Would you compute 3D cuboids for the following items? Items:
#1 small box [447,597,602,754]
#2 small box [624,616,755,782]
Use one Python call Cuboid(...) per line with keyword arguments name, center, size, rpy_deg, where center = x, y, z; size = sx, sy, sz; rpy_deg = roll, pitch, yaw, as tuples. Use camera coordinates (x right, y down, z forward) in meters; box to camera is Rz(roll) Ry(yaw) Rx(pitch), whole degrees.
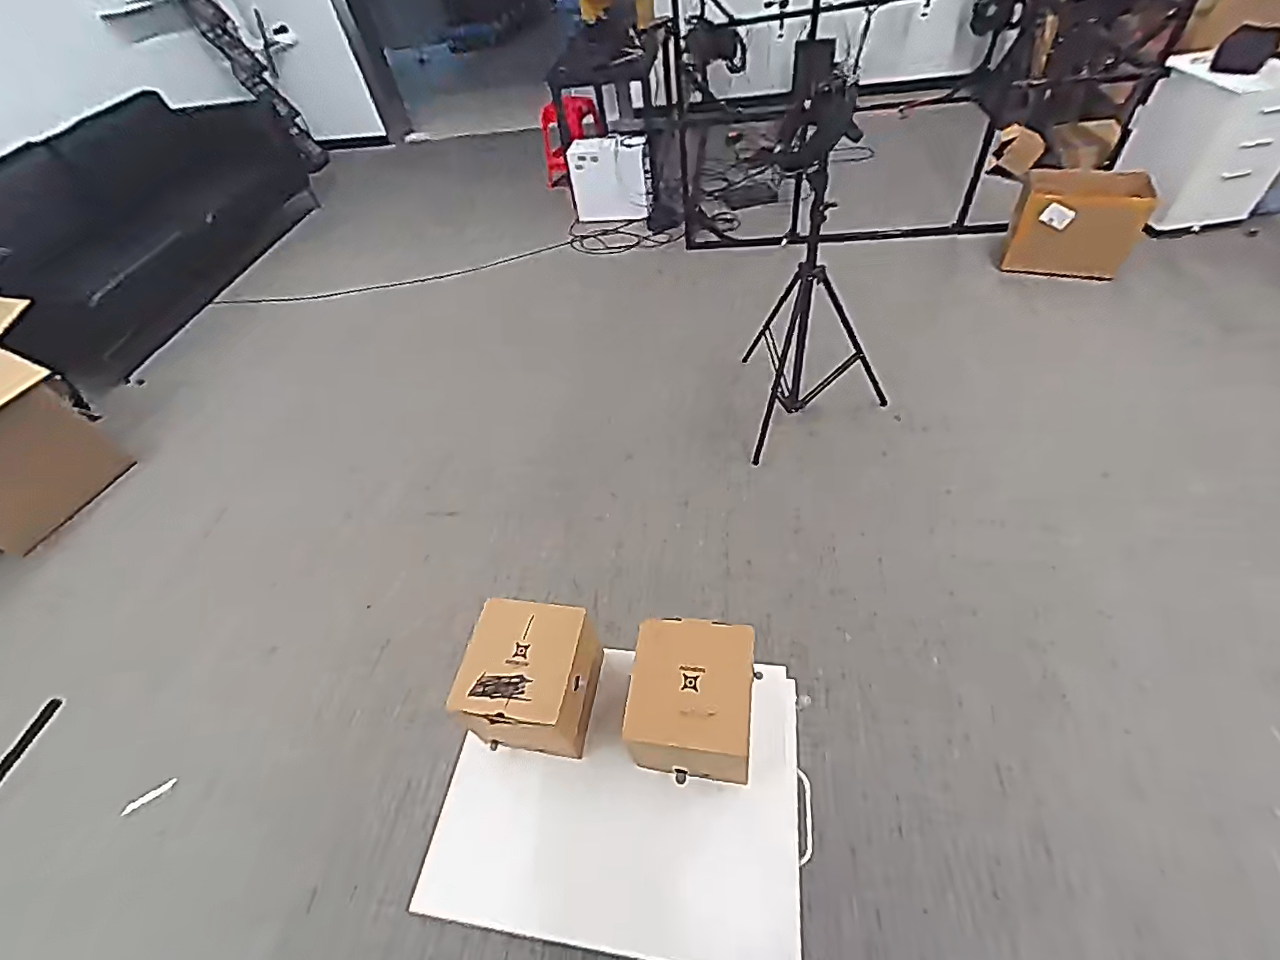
Cuboid(name="small box", center=(-0.164, 0.306, 0.841), size=(0.168, 0.176, 0.179), rpy_deg=(4, 50, 11))
Cuboid(name="small box", center=(0.081, 0.321, 0.793), size=(0.168, 0.176, 0.179), rpy_deg=(1, 51, 12))
